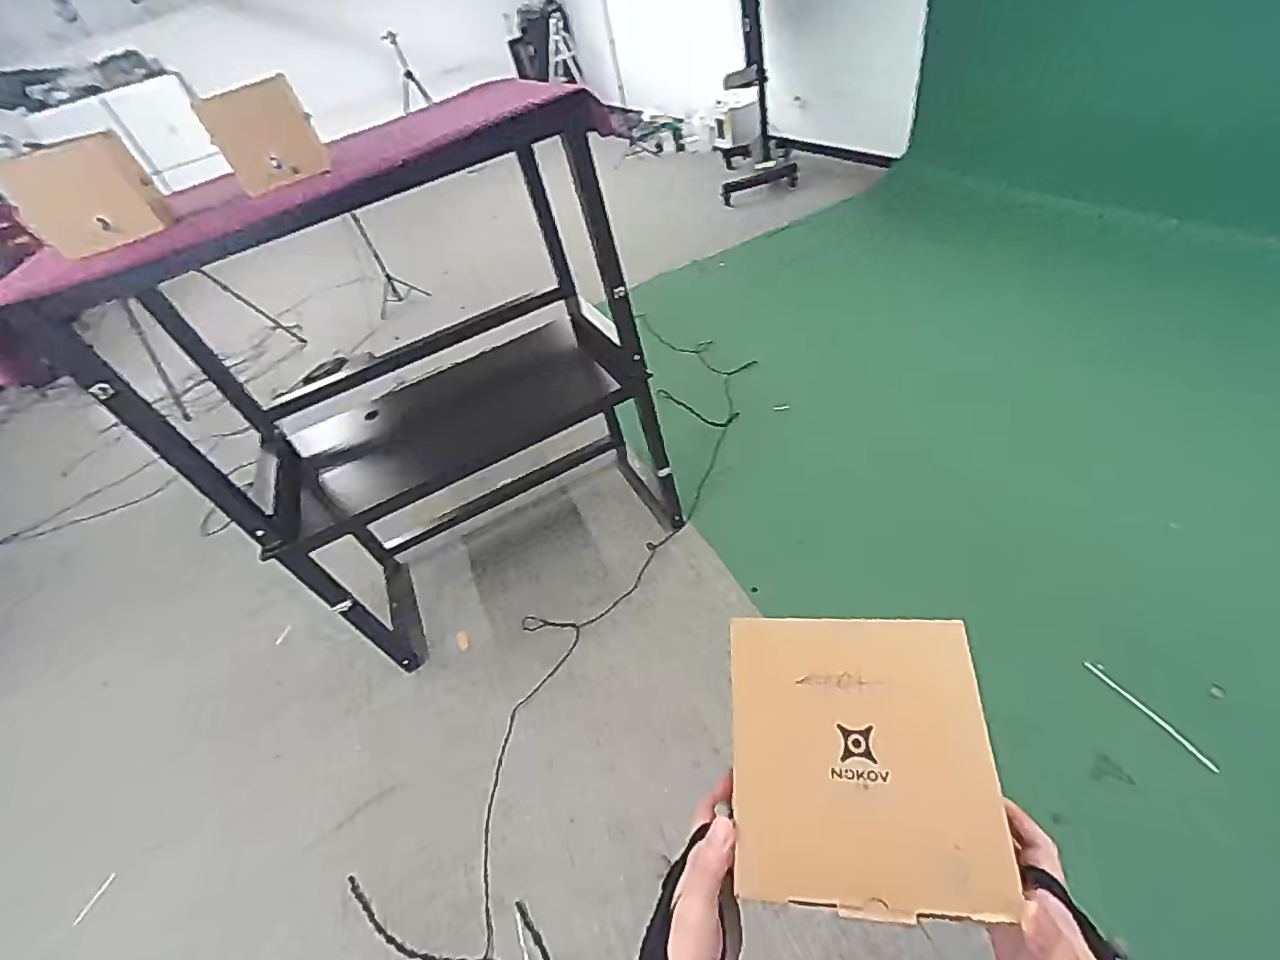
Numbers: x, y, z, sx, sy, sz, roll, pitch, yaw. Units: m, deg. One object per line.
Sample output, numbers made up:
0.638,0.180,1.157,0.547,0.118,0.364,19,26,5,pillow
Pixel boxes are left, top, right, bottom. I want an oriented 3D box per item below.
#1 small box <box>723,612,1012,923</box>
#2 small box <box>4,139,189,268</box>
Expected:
0.154,0.214,0.429,0.168,0.176,0.179,-2,61,11,small box
-1.036,-0.541,1.055,0.179,0.176,0.168,-28,42,-12,small box
